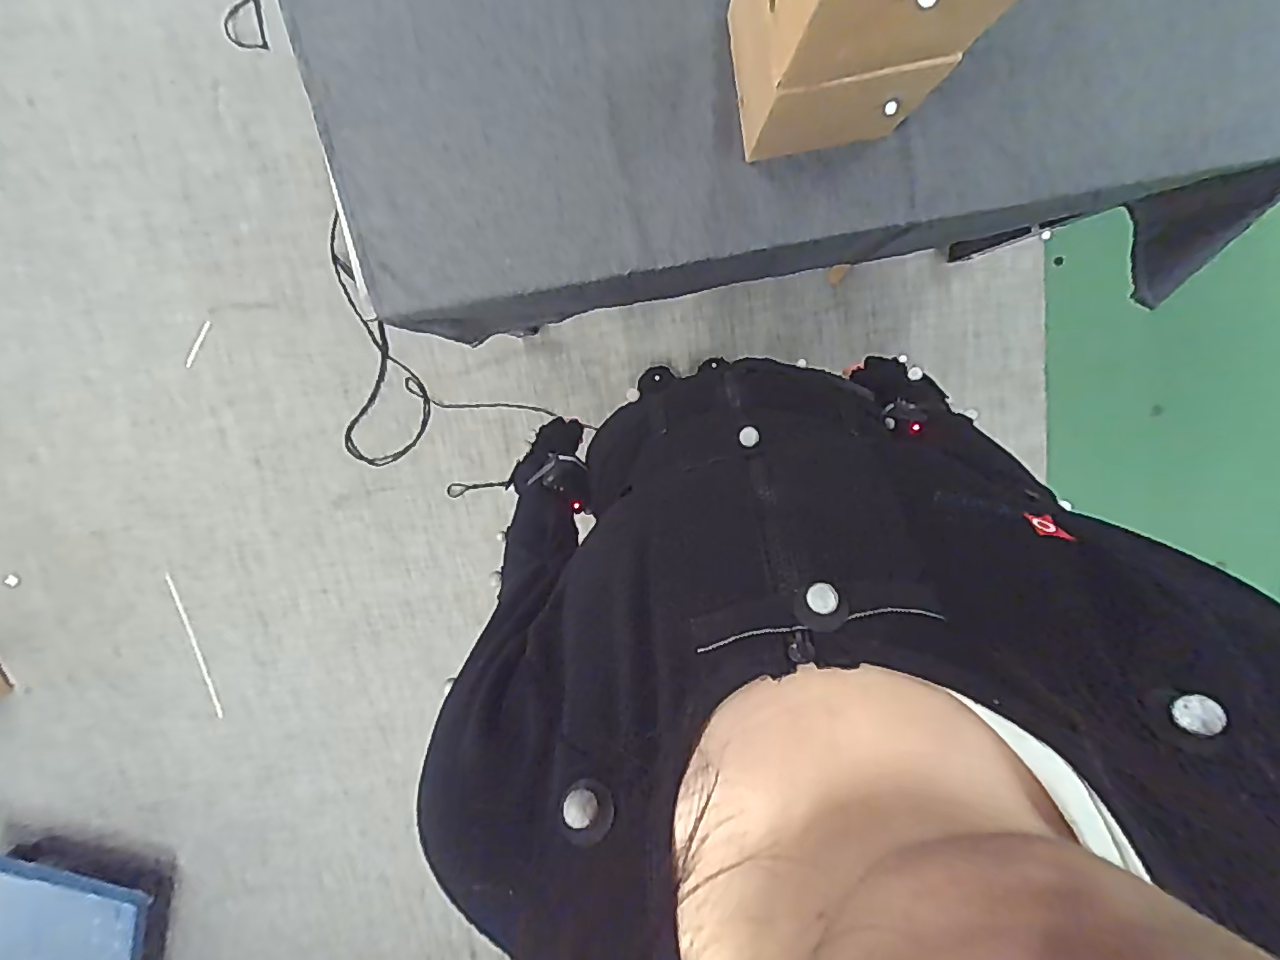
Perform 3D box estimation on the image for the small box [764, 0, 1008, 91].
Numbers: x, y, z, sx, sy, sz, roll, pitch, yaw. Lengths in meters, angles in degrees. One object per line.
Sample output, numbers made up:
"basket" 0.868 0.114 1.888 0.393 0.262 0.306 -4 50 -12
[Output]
"small box" 0.197 -0.441 0.414 0.179 0.176 0.168 -10 100 4
